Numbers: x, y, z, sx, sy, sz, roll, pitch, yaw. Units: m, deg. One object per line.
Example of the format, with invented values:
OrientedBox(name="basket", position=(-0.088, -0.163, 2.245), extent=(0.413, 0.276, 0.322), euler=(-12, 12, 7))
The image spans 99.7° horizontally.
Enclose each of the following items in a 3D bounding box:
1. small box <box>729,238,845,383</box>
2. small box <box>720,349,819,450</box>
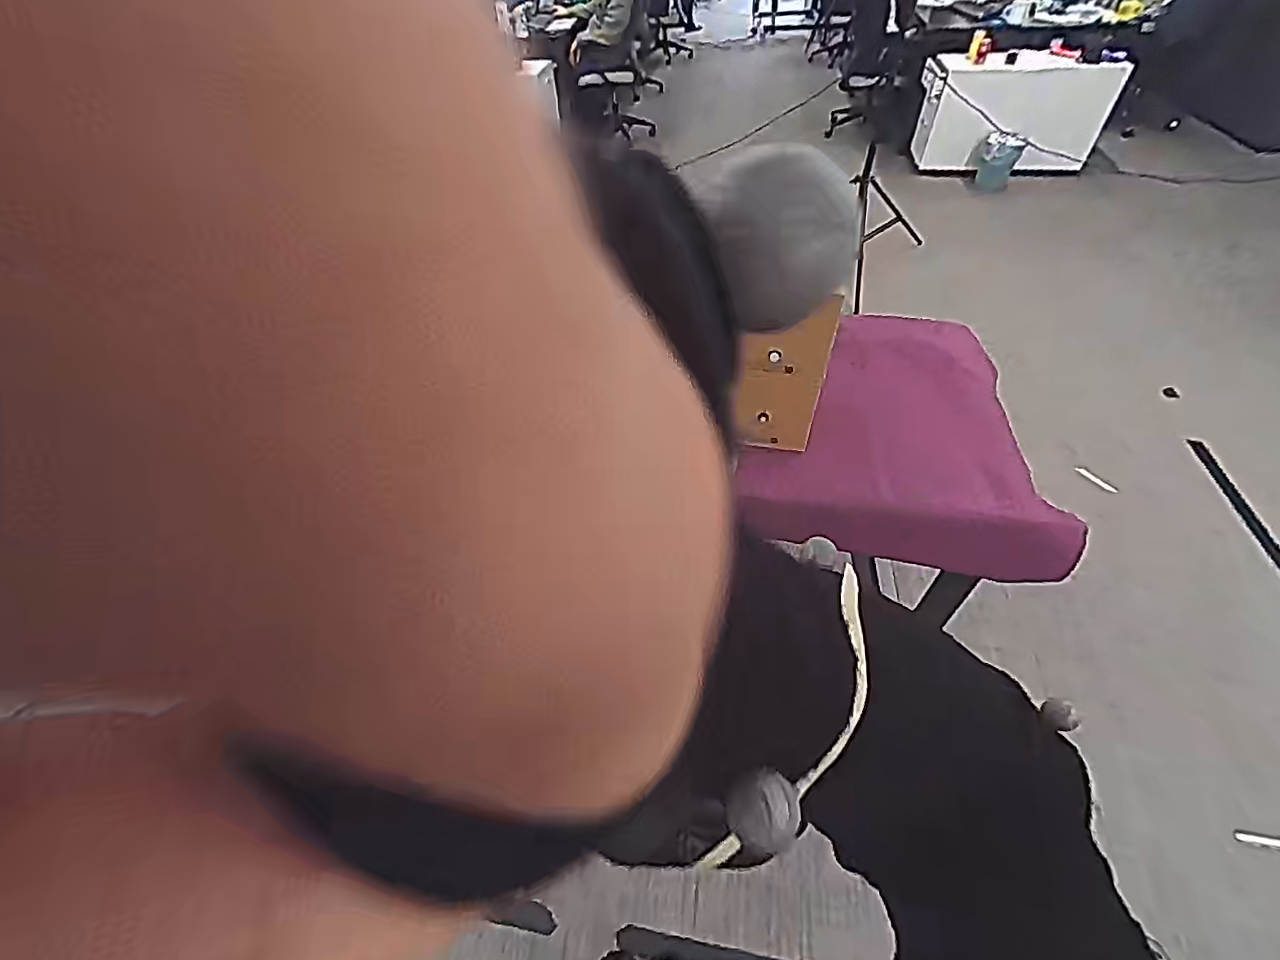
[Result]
OrientedBox(name="small box", position=(0.247, -0.292, 0.932), extent=(0.168, 0.176, 0.179), euler=(7, 50, 10))
OrientedBox(name="small box", position=(0.250, -0.180, 1.052), extent=(0.168, 0.176, 0.179), euler=(8, 49, 10))
